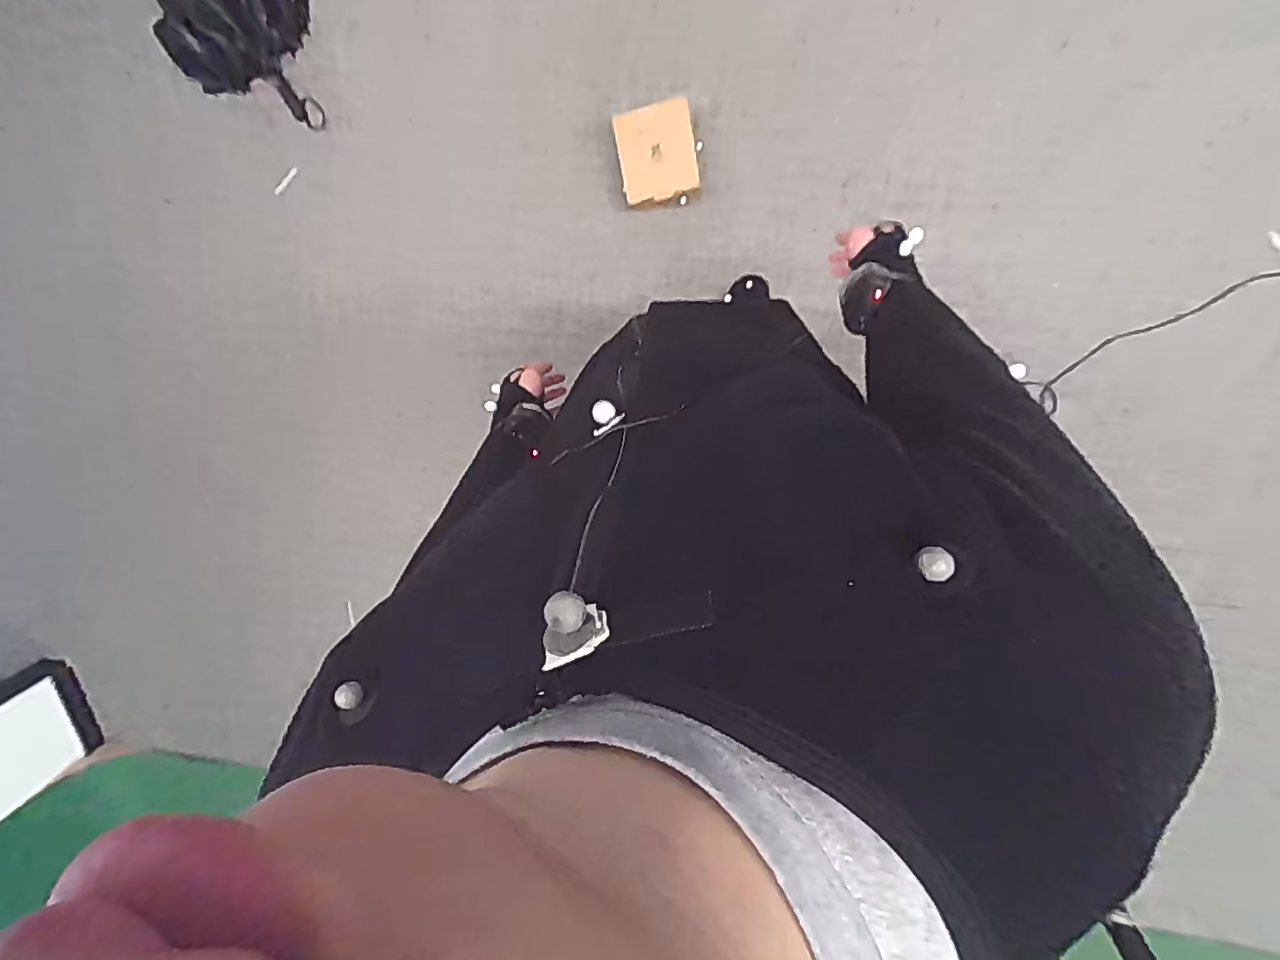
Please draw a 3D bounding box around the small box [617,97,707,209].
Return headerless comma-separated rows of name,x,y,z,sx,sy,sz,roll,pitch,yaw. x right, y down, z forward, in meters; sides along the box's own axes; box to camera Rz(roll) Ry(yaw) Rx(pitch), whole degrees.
small box,0.058,-0.733,1.237,0.168,0.176,0.179,-8,109,13
